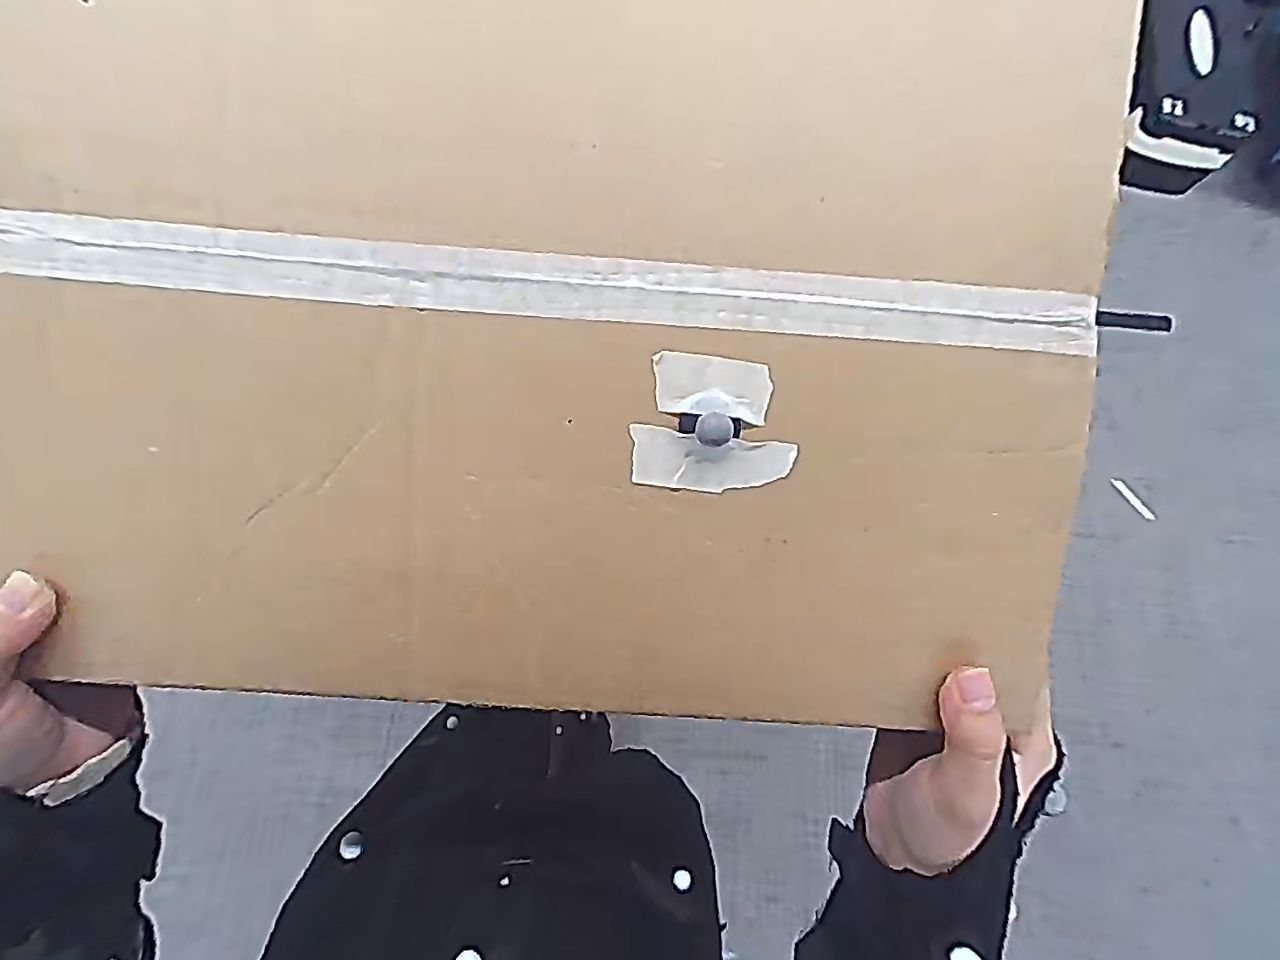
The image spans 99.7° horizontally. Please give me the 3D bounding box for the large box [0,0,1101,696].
[{"bbox_3d":[-0.040,-0.084,0.352,0.408,0.320,0.320,4,96,-2],"label":"large box"}]
